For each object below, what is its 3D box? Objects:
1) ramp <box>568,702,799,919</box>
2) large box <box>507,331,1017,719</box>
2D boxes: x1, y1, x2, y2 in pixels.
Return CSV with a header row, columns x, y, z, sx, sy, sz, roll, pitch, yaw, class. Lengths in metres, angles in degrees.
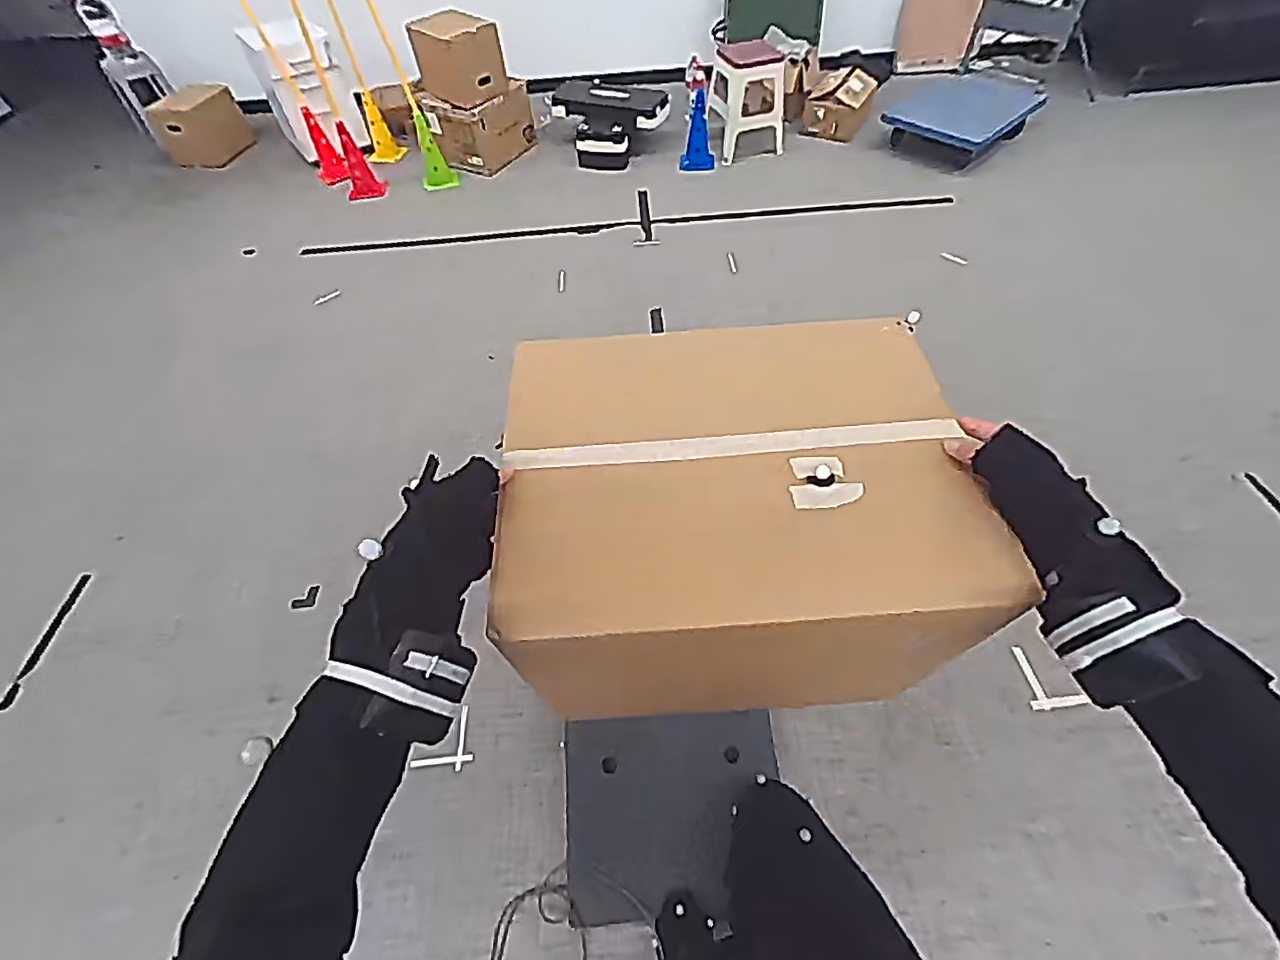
x,y,z,sx,sy,sz,roll,pitch,yaw,class
0.061,0.465,1.366,0.509,0.206,0.991,-6,54,-2,ramp
0.087,0.064,0.617,0.408,0.320,0.320,-4,56,-1,large box
